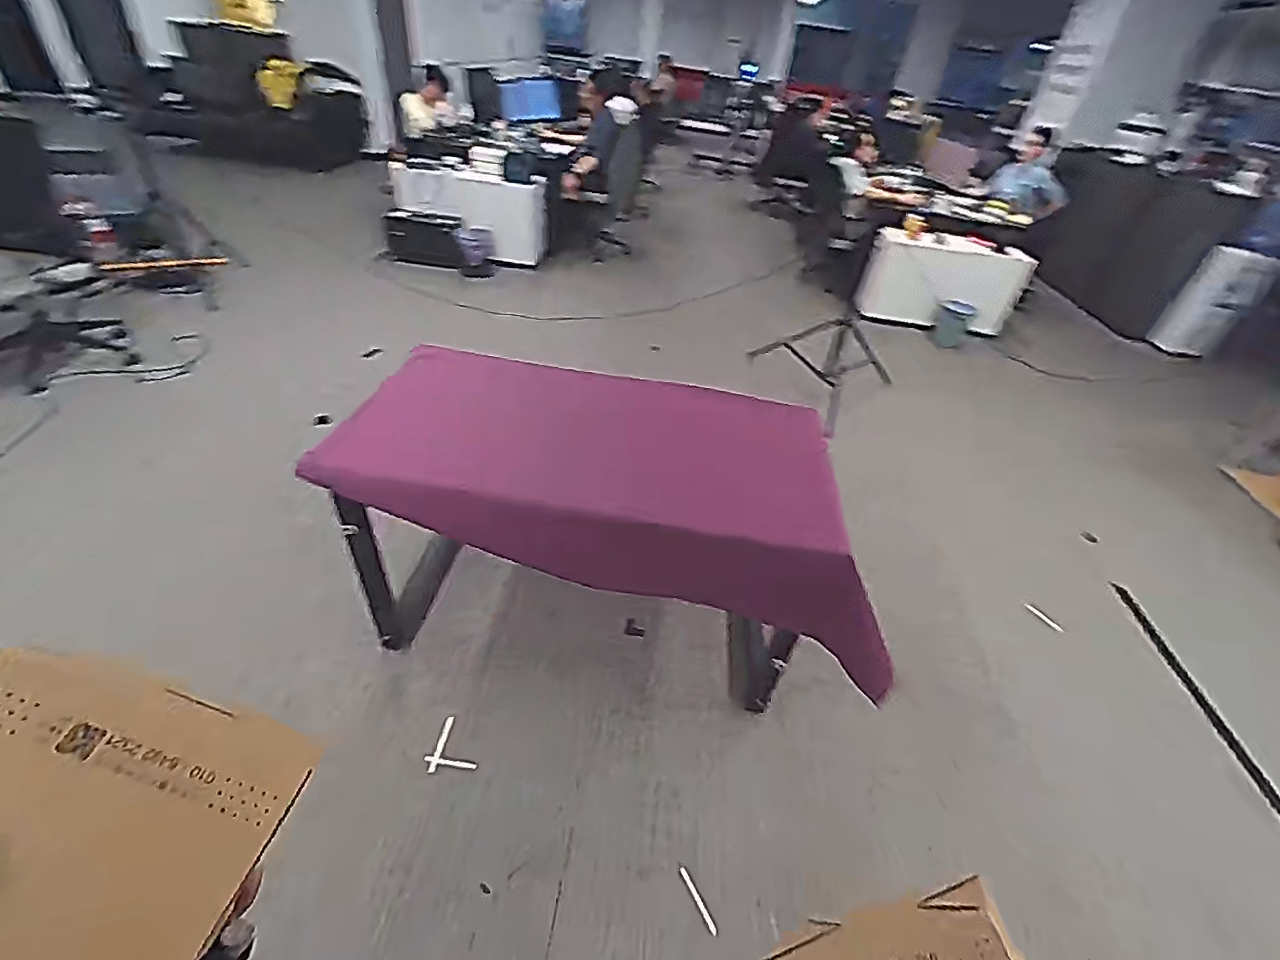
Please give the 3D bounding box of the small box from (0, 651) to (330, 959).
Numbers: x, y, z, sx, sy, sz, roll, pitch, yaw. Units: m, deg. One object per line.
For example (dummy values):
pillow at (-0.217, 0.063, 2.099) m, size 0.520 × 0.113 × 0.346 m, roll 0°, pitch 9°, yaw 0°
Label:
small box at (-0.315, 0.212, 0.321) m, size 0.168 × 0.179 × 0.176 m, roll 30°, pitch 60°, yaw -12°
